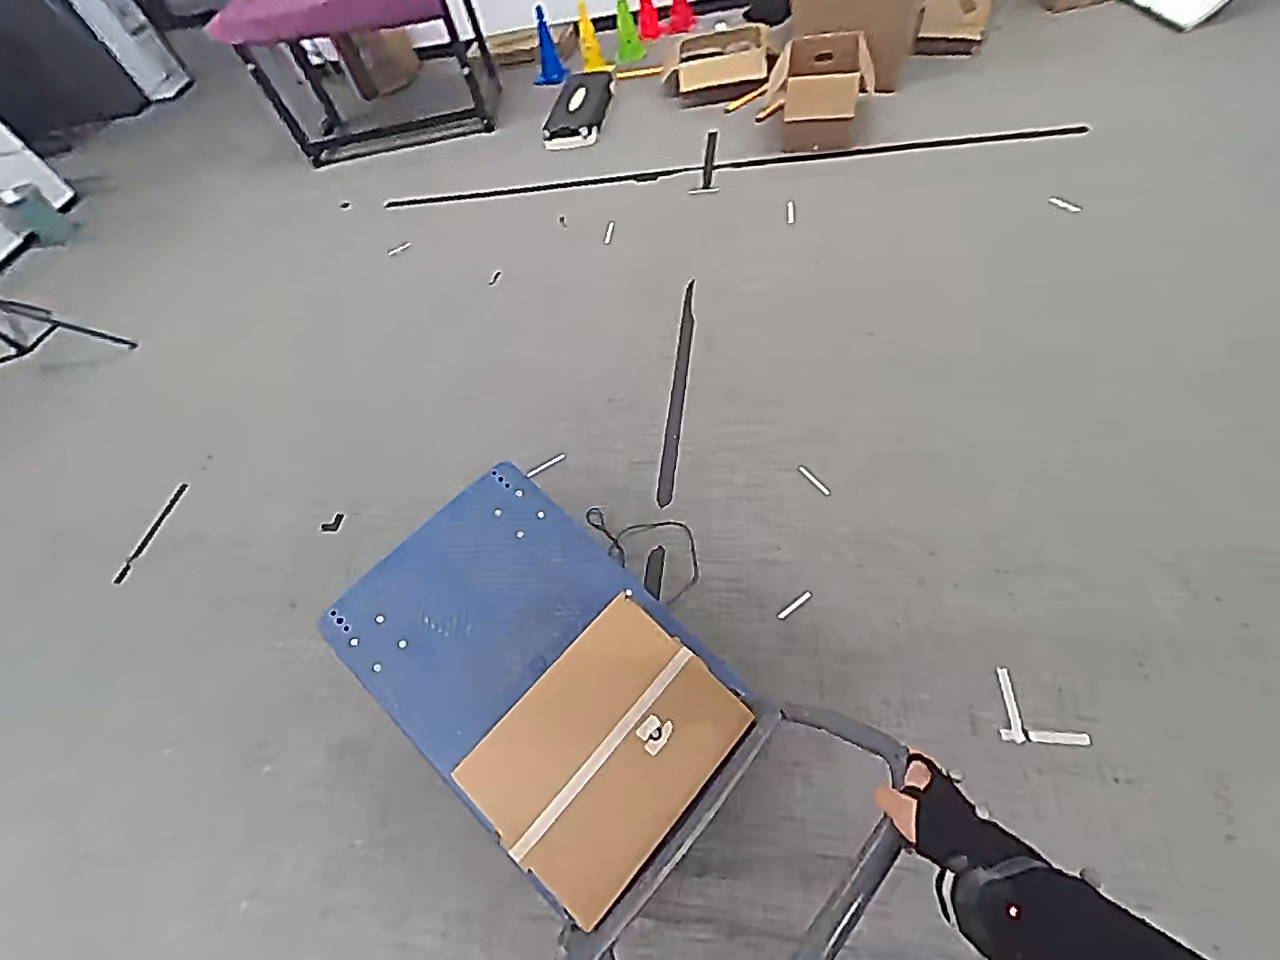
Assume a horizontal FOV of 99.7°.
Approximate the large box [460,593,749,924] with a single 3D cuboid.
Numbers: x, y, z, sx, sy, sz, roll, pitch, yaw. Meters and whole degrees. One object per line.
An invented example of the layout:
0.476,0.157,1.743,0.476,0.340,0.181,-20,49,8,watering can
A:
-0.060,0.494,1.036,0.320,0.320,0.408,41,71,12,large box
